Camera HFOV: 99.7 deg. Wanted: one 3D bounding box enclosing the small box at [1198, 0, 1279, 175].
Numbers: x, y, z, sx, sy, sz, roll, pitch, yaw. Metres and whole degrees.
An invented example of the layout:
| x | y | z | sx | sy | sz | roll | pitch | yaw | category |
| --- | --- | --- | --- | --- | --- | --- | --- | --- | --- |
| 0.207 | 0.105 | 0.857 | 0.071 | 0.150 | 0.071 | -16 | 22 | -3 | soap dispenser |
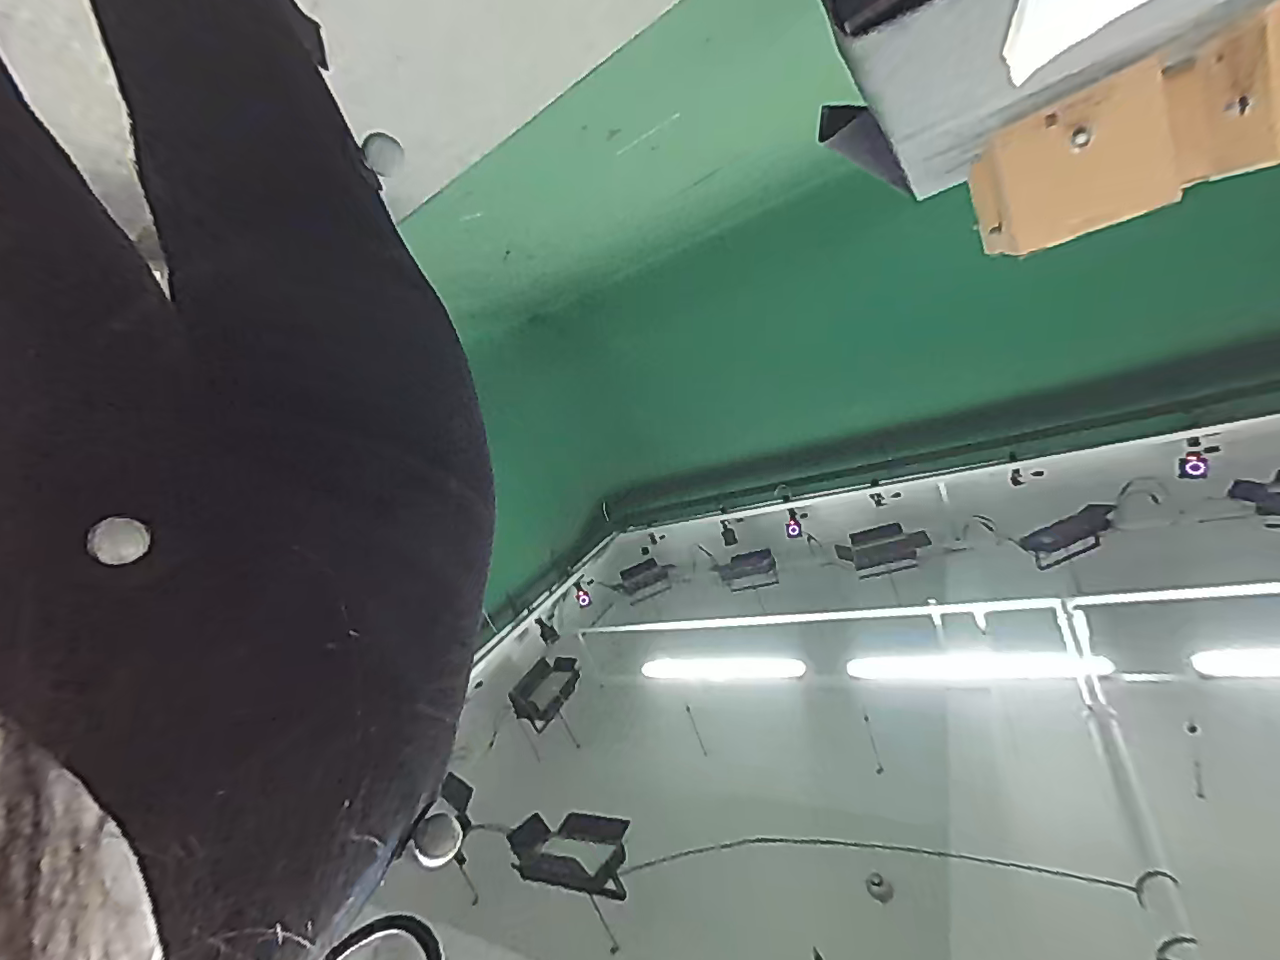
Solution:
| x | y | z | sx | sy | sz | roll | pitch | yaw | category |
| --- | --- | --- | --- | --- | --- | --- | --- | --- | --- |
| 0.789 | -0.484 | 0.613 | 0.179 | 0.176 | 0.168 | -15 | -166 | 30 | small box |

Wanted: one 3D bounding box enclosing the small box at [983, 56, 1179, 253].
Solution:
| x | y | z | sx | sy | sz | roll | pitch | yaw | category |
| --- | --- | --- | --- | --- | --- | --- | --- | --- | --- |
| 0.585 | -0.429 | 0.738 | 0.168 | 0.176 | 0.179 | -15 | -167 | 32 | small box |
